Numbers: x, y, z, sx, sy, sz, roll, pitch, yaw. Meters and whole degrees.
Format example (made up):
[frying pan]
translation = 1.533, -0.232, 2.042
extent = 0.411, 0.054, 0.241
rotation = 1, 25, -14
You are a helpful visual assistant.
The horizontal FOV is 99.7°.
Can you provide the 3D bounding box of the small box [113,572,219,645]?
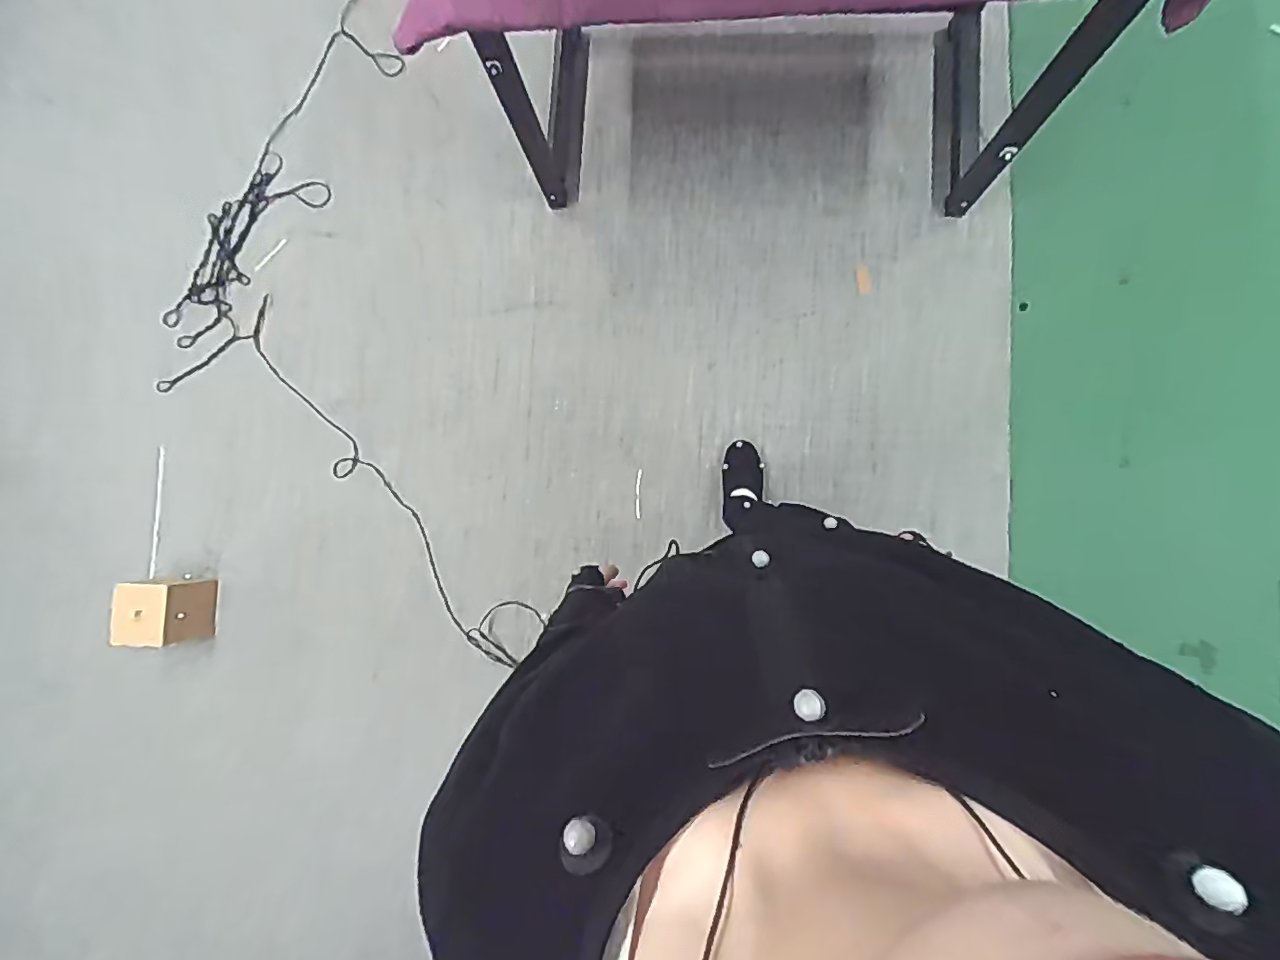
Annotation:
[small box]
translation = -1.382, 0.371, 1.585
extent = 0.168, 0.176, 0.179
rotation = 1, 86, 6
